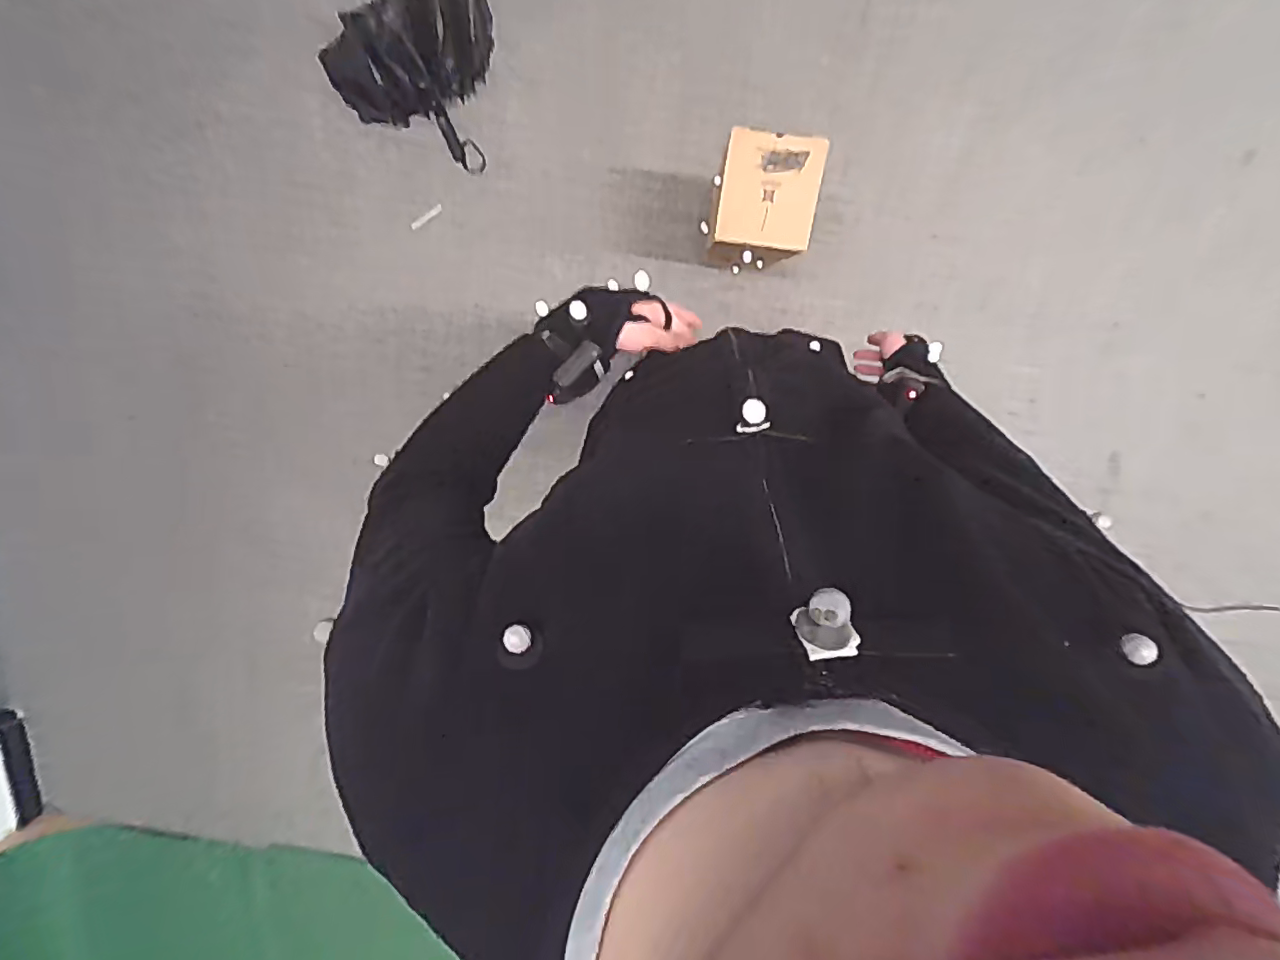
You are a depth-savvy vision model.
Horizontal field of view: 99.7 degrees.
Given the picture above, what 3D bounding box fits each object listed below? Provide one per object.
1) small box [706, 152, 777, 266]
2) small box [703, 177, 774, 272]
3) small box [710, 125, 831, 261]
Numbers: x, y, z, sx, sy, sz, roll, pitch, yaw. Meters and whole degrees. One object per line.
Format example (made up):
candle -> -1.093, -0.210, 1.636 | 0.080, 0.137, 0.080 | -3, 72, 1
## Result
small box -> 0.233, -0.558, 1.137 | 0.168, 0.176, 0.179 | 8, 105, 1
small box -> 0.244, -0.602, 1.293 | 0.168, 0.176, 0.179 | 7, 107, 2
small box -> 0.224, -0.508, 0.980 | 0.168, 0.176, 0.179 | 9, 108, 1
